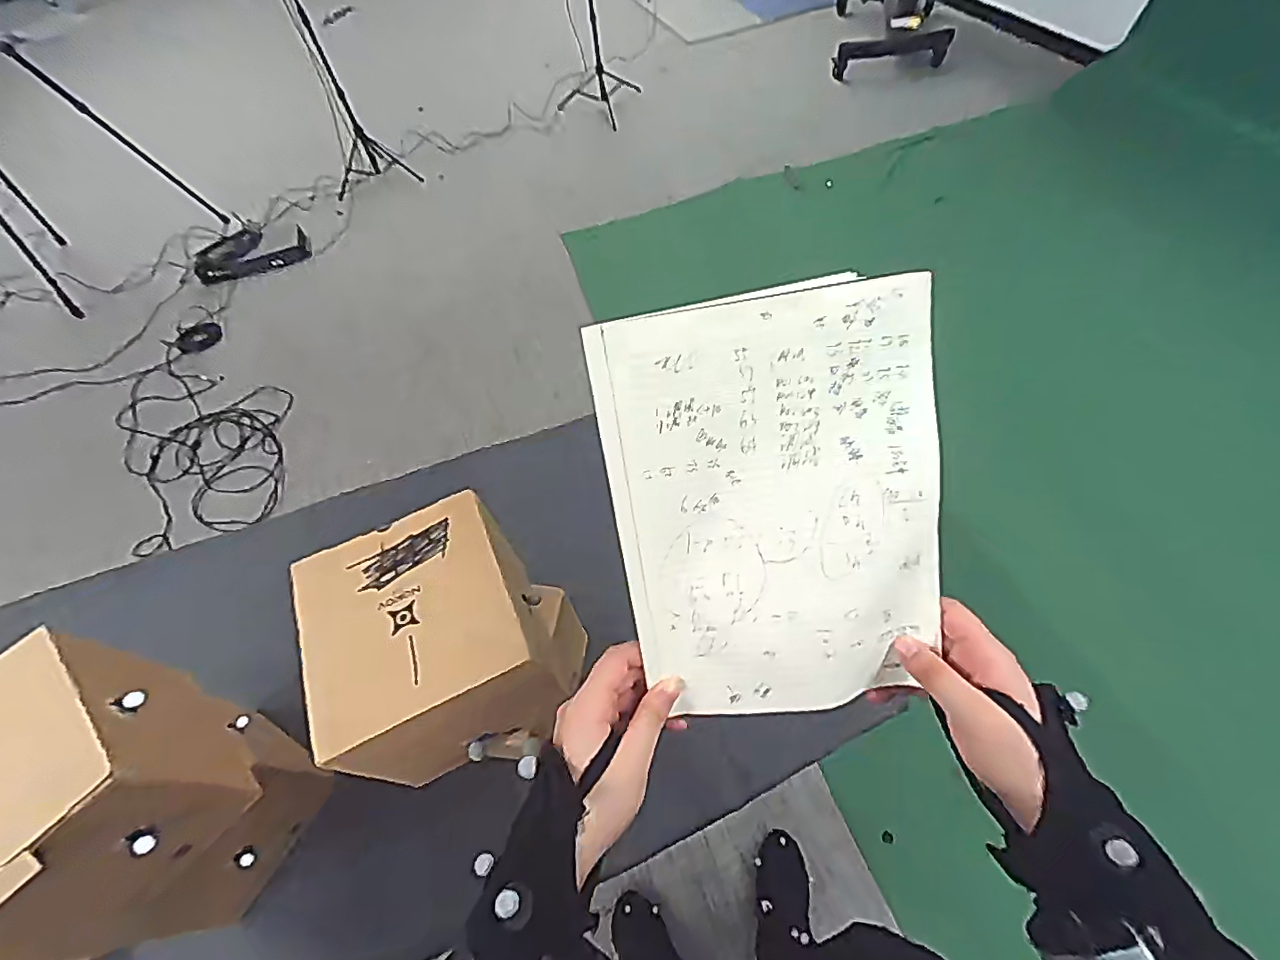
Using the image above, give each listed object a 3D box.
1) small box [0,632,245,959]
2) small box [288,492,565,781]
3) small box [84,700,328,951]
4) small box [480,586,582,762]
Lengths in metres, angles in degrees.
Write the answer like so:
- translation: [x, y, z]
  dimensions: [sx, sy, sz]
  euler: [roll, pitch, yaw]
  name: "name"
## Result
- translation: [-0.488, 0.265, 0.453]
  dimensions: [0.179, 0.176, 0.168]
  euler: [34, 65, 25]
  name: "small box"
- translation: [-0.185, 0.148, 0.497]
  dimensions: [0.168, 0.176, 0.179]
  euler: [-25, 58, -9]
  name: "small box"
- translation: [-0.492, 0.354, 0.590]
  dimensions: [0.179, 0.176, 0.168]
  euler: [23, 61, 19]
  name: "small box"
- translation: [-0.177, 0.227, 0.641]
  dimensions: [0.179, 0.176, 0.168]
  euler: [4, 57, 10]
  name: "small box"
